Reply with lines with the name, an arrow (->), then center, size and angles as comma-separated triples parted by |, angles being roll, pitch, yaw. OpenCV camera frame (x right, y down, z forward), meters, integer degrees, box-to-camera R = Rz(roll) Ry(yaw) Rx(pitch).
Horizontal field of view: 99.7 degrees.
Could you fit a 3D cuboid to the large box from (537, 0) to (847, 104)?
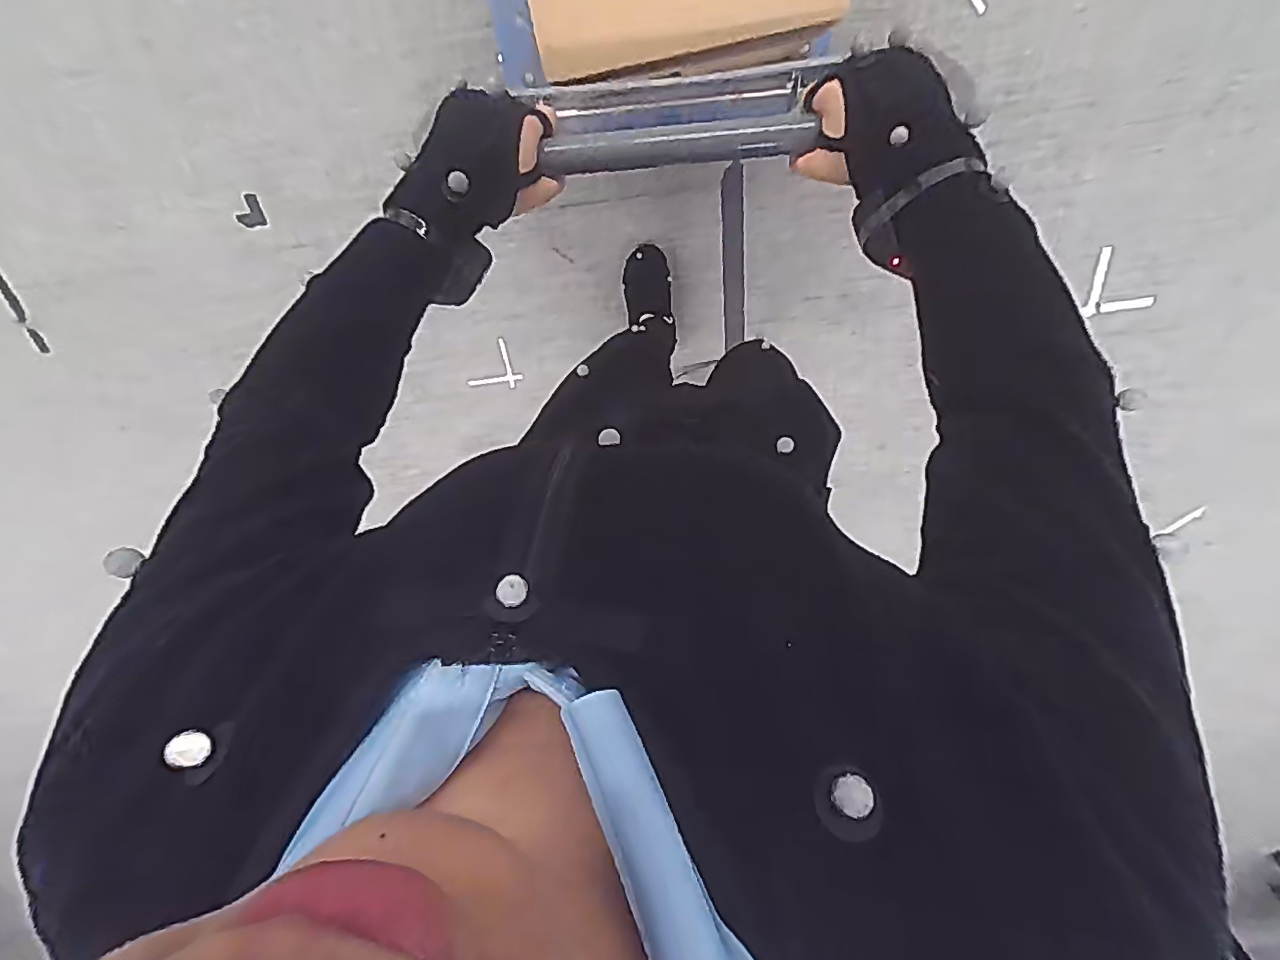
large box -> 0.049, -0.780, 0.781 | 0.408, 0.320, 0.320 | -9, 121, 6
